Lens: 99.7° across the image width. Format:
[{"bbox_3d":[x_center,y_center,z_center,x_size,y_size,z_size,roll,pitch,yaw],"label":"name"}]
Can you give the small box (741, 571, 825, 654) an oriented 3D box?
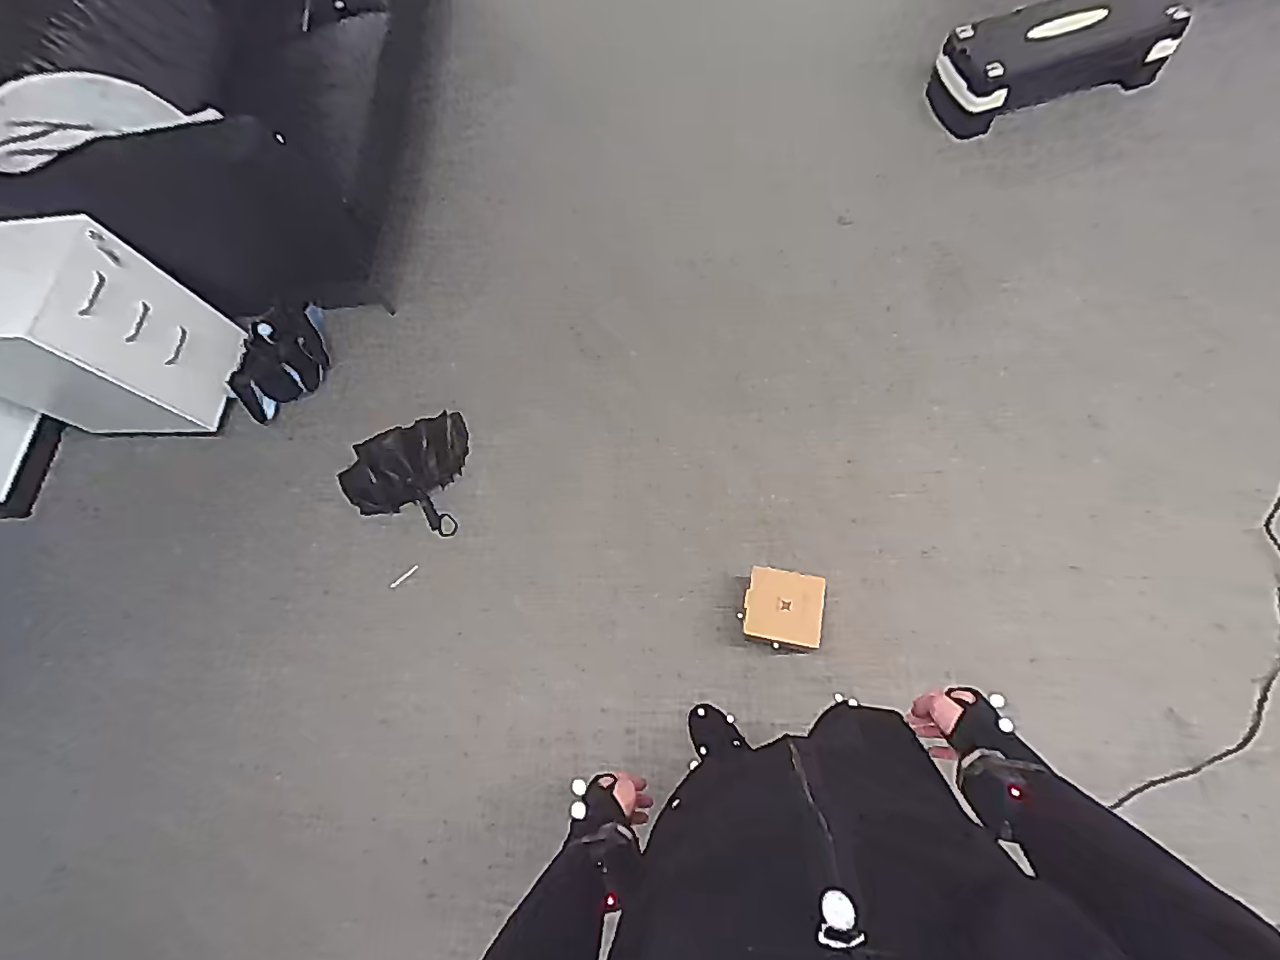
[{"bbox_3d":[0.352,0.336,1.353,0.179,0.176,0.168,9,73,11],"label":"small box"}]
